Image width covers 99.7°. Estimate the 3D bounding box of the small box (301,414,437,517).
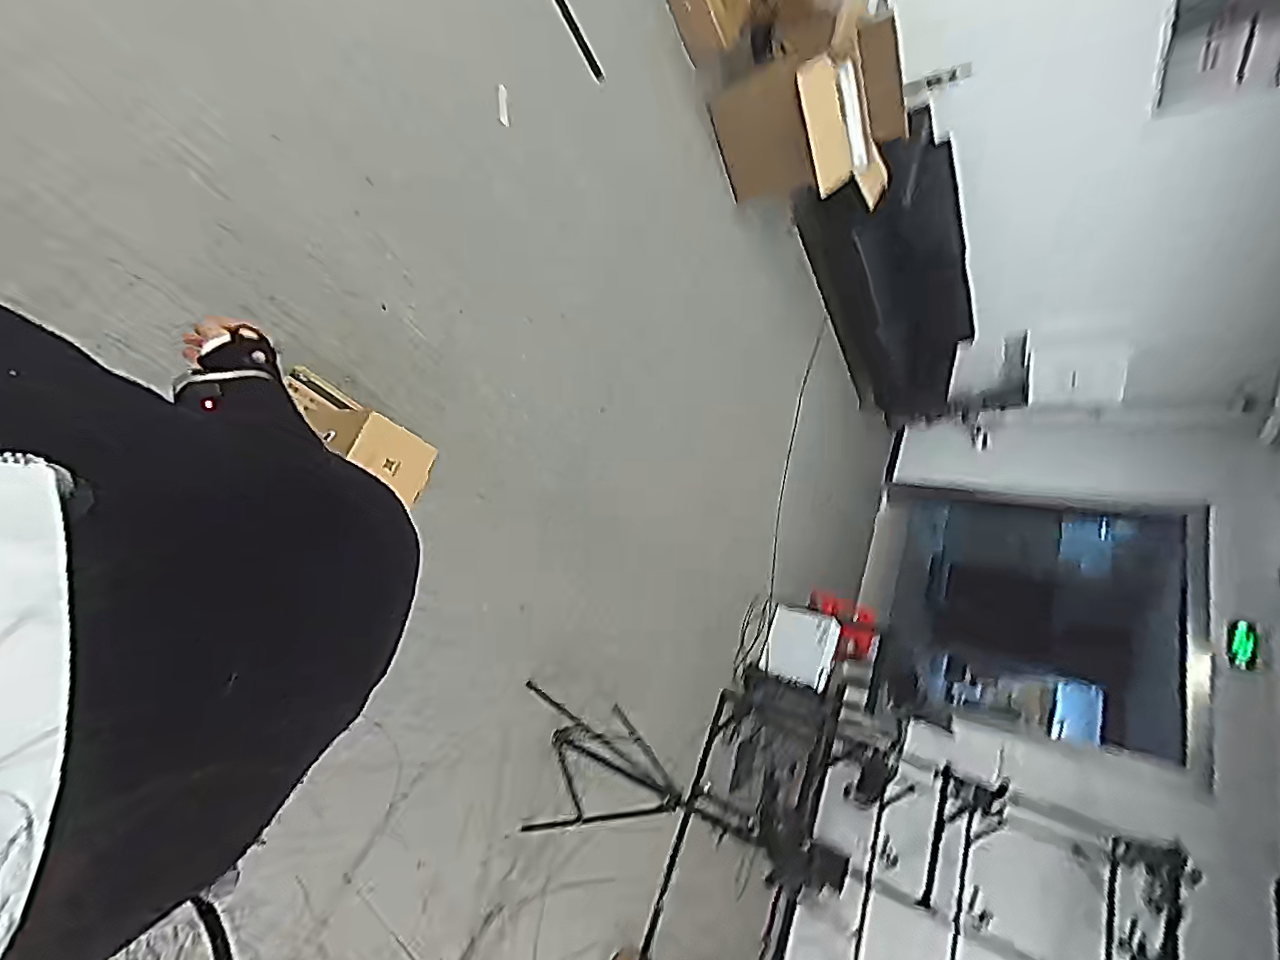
[{"bbox_3d":[-0.589,-0.036,1.179,0.179,0.176,0.168,39,64,-47],"label":"small box"}]
